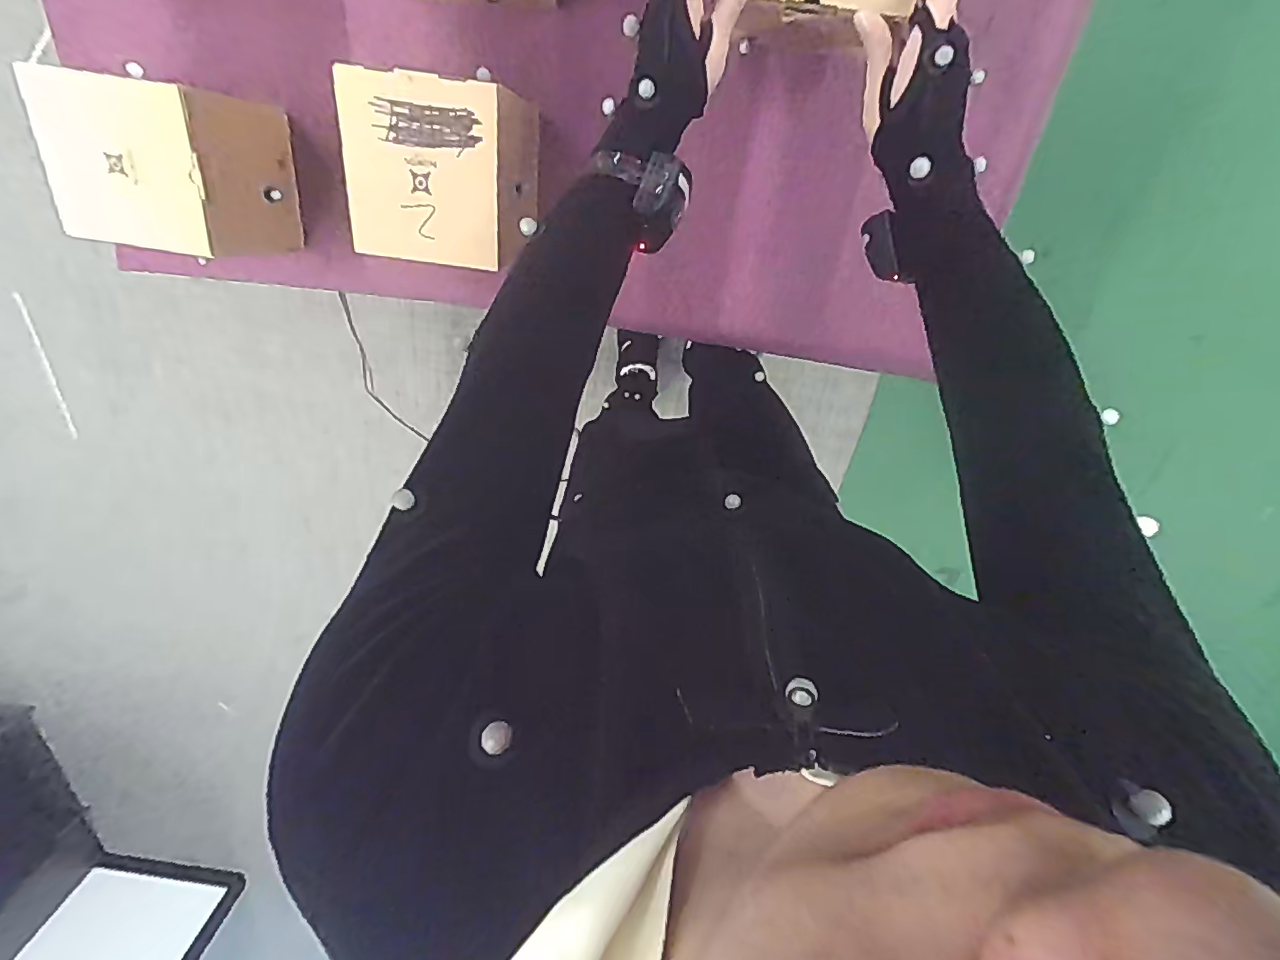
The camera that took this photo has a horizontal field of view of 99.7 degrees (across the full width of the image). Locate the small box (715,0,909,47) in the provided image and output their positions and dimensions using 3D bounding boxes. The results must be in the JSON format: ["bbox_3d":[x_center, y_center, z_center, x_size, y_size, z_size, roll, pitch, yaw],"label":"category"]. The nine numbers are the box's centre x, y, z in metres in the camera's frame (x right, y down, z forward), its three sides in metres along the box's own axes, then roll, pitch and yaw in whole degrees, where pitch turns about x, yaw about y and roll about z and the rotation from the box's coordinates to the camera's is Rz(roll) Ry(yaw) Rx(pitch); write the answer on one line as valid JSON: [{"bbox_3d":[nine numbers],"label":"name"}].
[{"bbox_3d":[0.161,-0.503,0.464,0.168,0.176,0.179,11,119,4],"label":"small box"}]

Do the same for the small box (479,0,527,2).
[{"bbox_3d":[-0.186,-0.581,0.505,0.179,0.176,0.168,8,118,2],"label":"small box"}]

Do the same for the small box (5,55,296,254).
[{"bbox_3d":[-0.557,-0.375,0.647,0.179,0.176,0.168,9,117,0],"label":"small box"}]
